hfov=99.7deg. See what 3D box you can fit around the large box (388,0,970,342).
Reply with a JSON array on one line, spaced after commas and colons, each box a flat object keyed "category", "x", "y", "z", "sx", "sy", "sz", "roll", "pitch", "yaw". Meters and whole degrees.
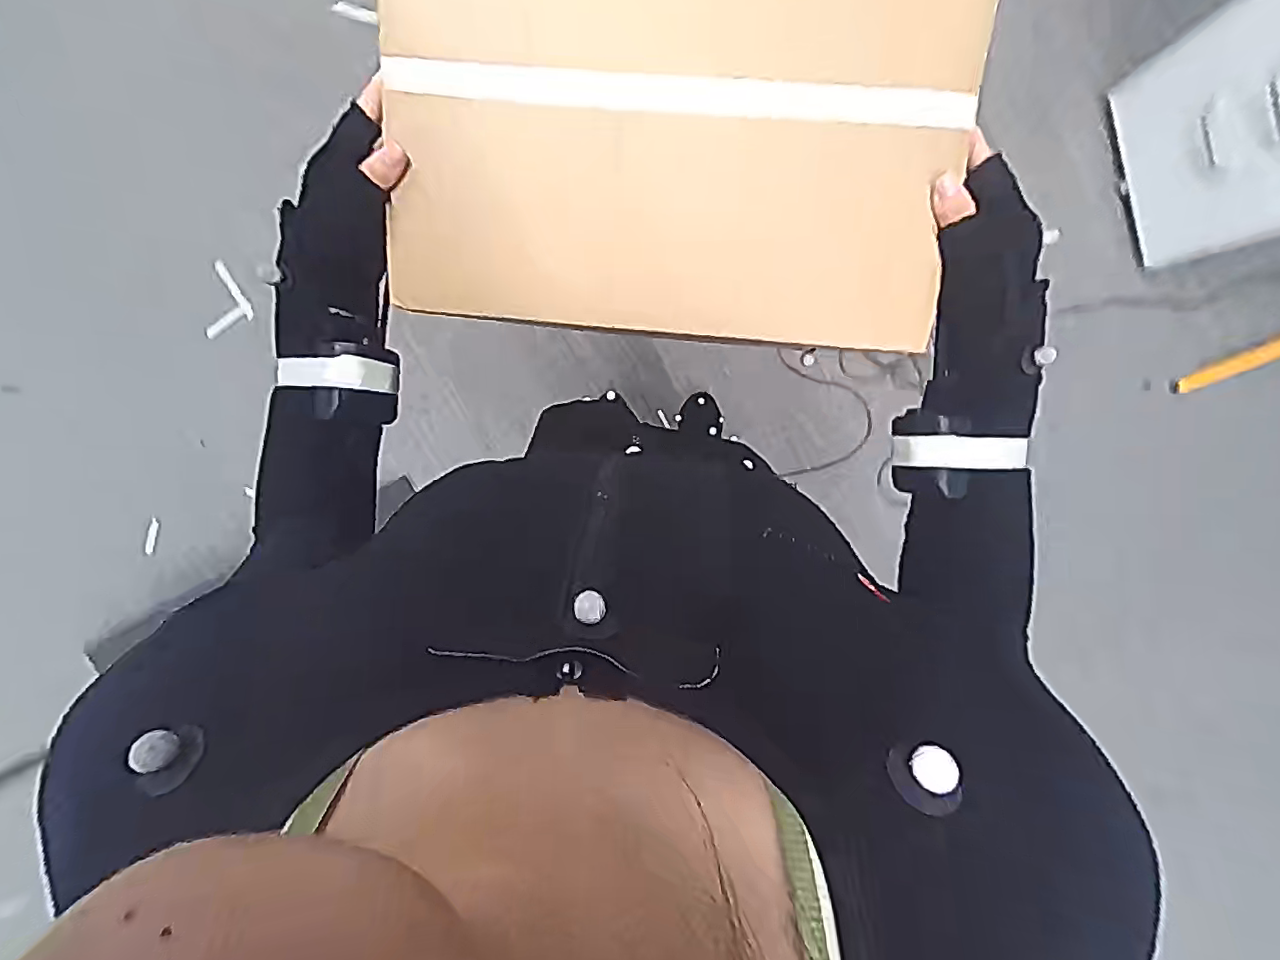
[{"category": "large box", "x": 0.028, "y": -0.306, "z": 0.526, "sx": 0.408, "sy": 0.320, "sz": 0.320, "roll": 5, "pitch": 104, "yaw": 2}]
